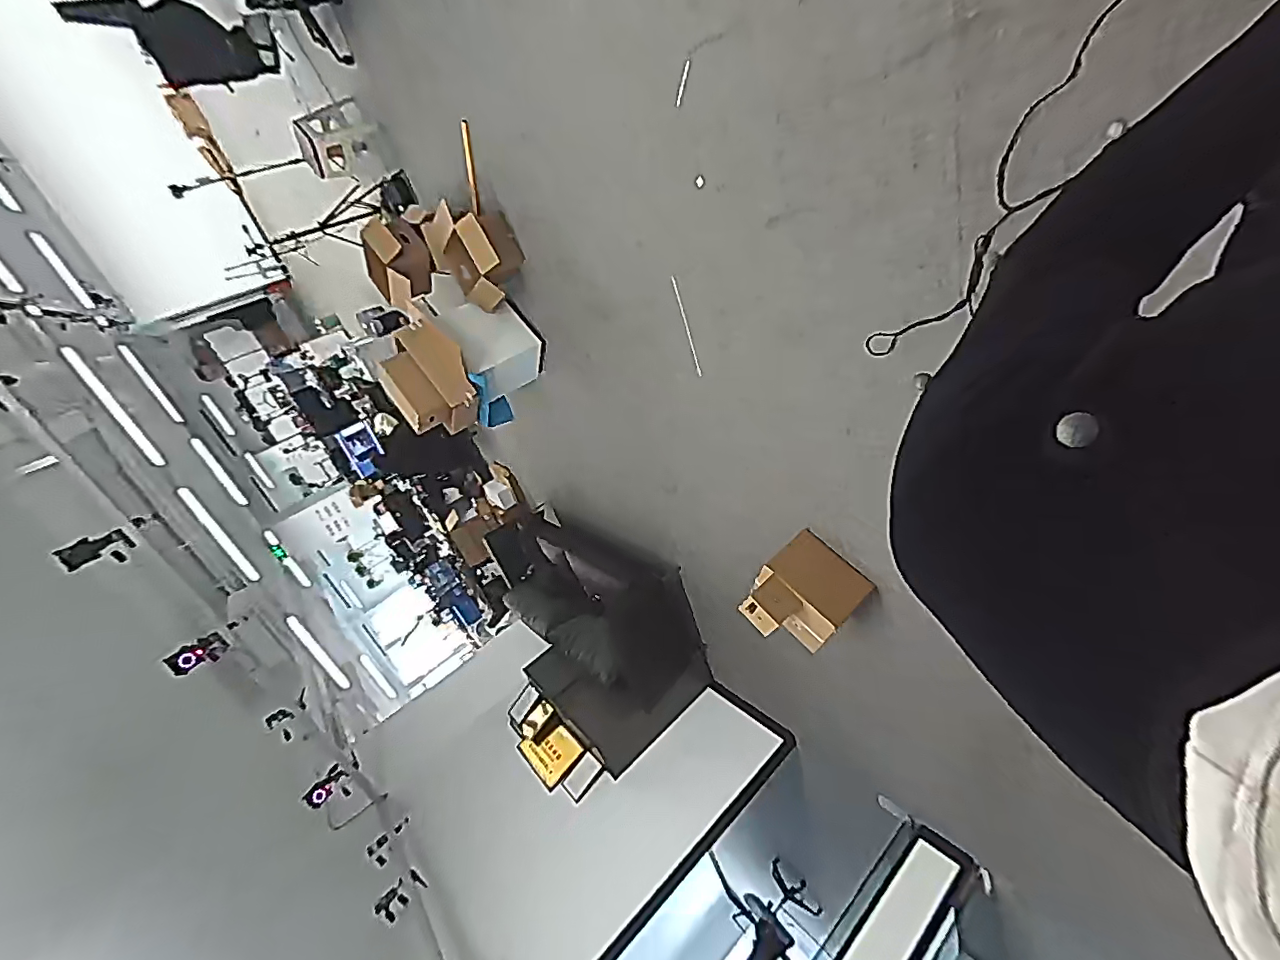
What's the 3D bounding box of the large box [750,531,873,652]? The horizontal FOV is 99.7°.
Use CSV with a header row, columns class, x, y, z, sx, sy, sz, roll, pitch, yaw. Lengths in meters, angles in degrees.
class,x,y,z,sx,sy,sz,roll,pitch,yaw
large box,0.798,0.519,2.552,0.408,0.320,0.320,41,151,24
